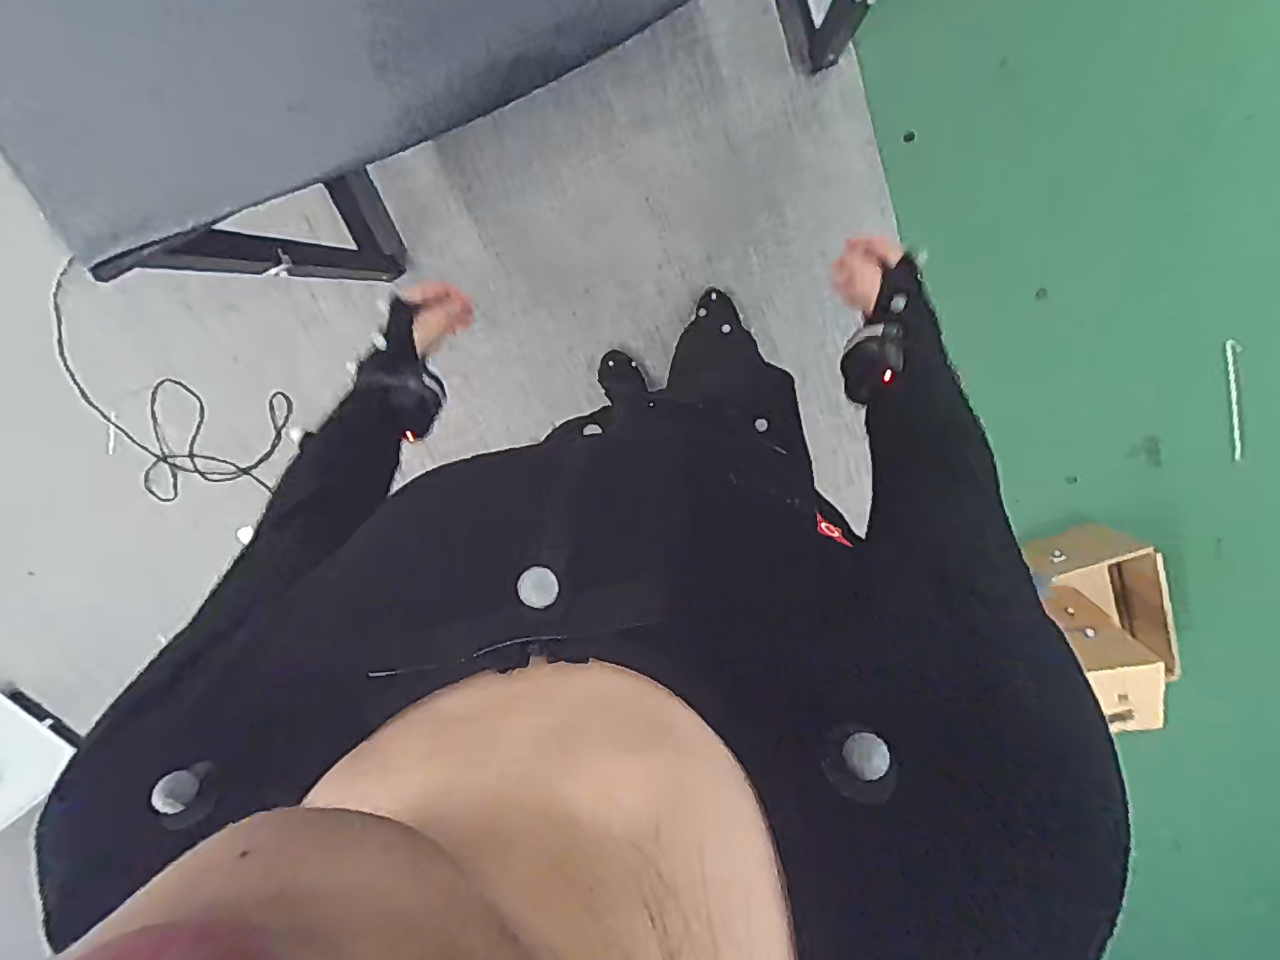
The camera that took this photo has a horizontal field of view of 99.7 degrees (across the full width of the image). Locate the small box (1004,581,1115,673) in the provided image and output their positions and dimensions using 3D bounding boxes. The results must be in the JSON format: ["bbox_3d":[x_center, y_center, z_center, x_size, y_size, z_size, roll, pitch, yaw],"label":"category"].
[{"bbox_3d":[1.093,0.383,1.424,0.179,0.176,0.168,-9,109,9],"label":"small box"}]

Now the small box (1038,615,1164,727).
[{"bbox_3d":[1.073,0.445,1.272,0.168,0.176,0.179,-12,107,9],"label":"small box"}]
